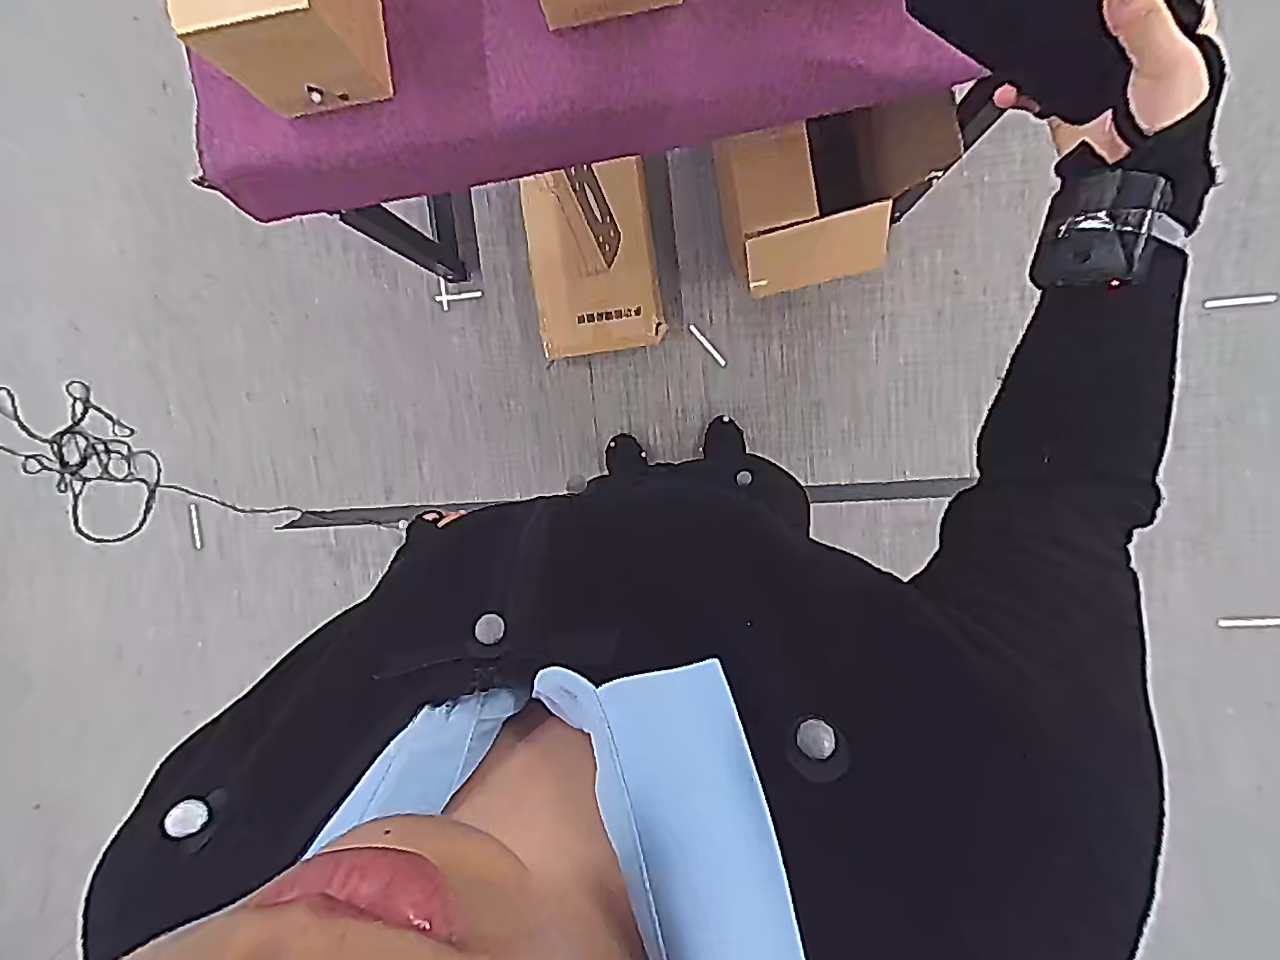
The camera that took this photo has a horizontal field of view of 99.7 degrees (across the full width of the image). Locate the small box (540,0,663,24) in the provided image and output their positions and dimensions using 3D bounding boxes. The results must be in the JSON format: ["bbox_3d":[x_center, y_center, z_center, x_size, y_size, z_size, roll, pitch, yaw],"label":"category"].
[{"bbox_3d":[-0.049,-0.666,0.603,0.179,0.176,0.168,-6,93,7],"label":"small box"}]
